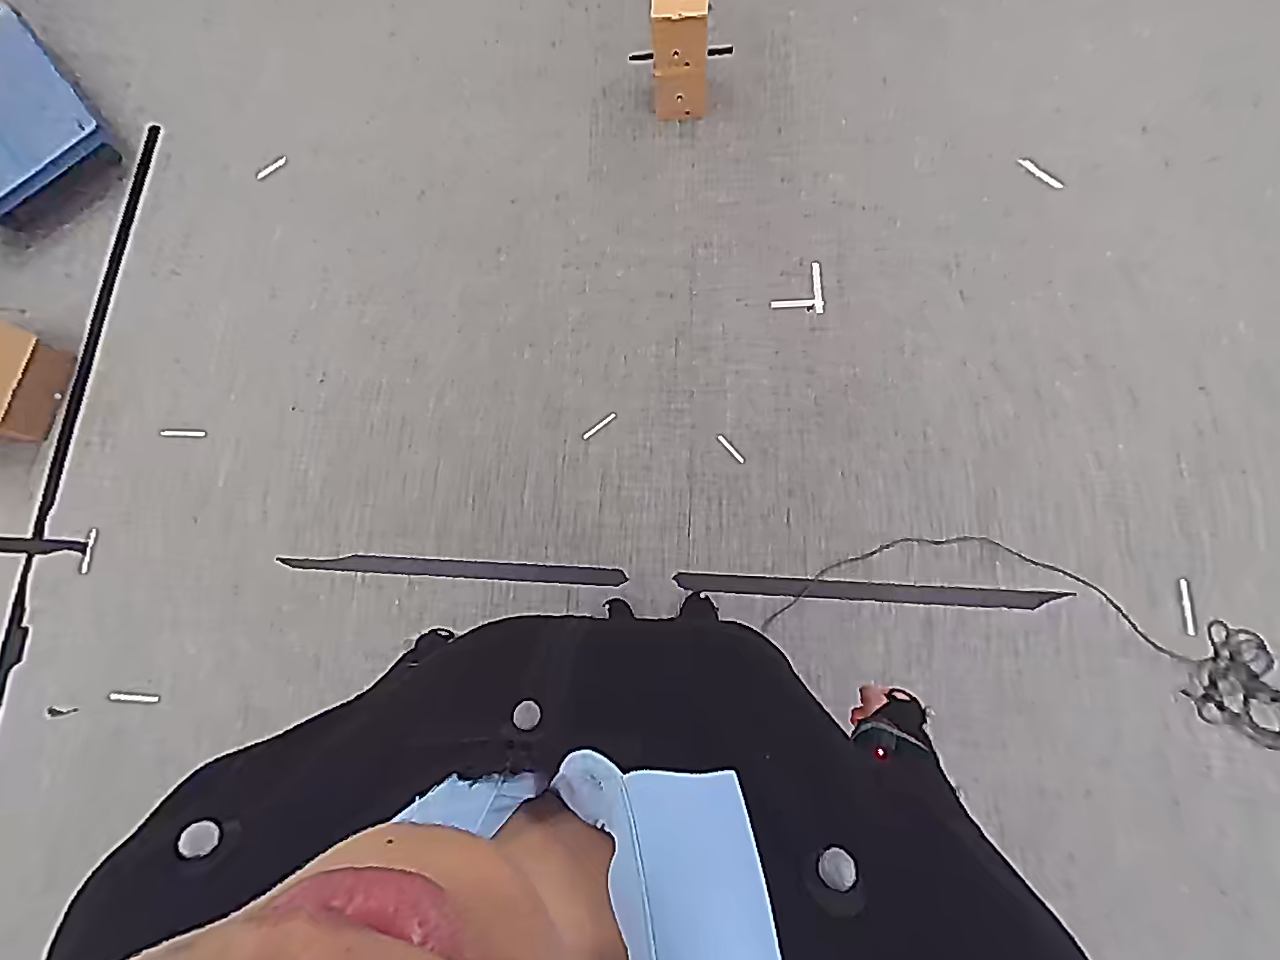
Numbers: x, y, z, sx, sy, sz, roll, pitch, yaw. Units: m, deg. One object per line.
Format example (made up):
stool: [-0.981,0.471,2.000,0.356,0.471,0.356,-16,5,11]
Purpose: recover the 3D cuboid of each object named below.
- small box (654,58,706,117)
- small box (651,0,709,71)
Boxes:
small box: [0.133,-1.337,1.788,0.168,0.176,0.179,-1,77,5]
small box: [0.123,-1.383,1.632,0.168,0.176,0.179,1,78,6]
